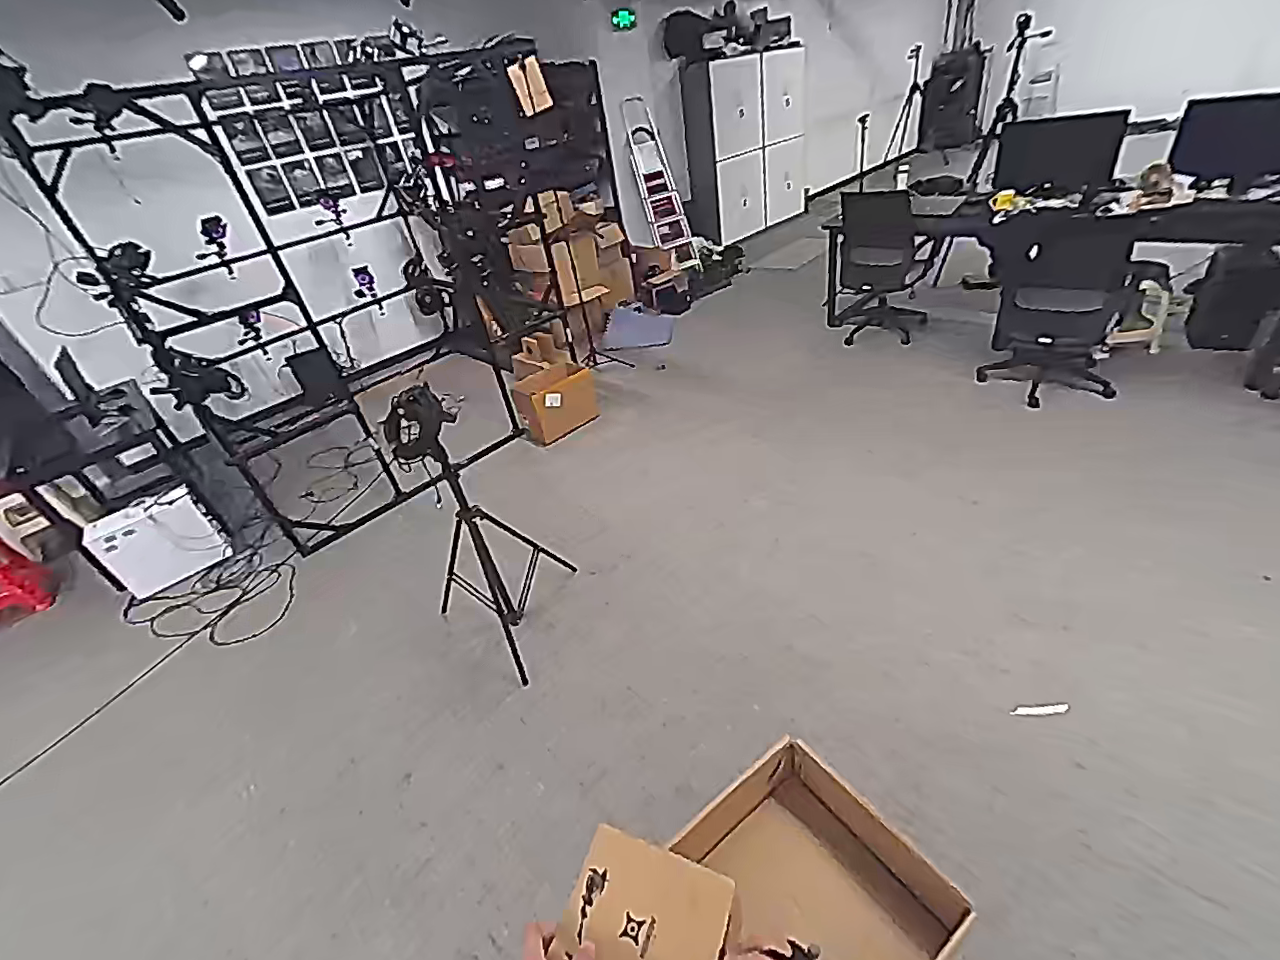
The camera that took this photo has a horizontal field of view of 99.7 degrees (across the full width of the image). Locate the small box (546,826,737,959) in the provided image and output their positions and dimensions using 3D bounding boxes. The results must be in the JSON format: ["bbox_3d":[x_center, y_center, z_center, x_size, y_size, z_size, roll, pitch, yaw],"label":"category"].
[{"bbox_3d":[0.010,0.543,0.625,0.179,0.176,0.168,9,43,21],"label":"small box"}]
